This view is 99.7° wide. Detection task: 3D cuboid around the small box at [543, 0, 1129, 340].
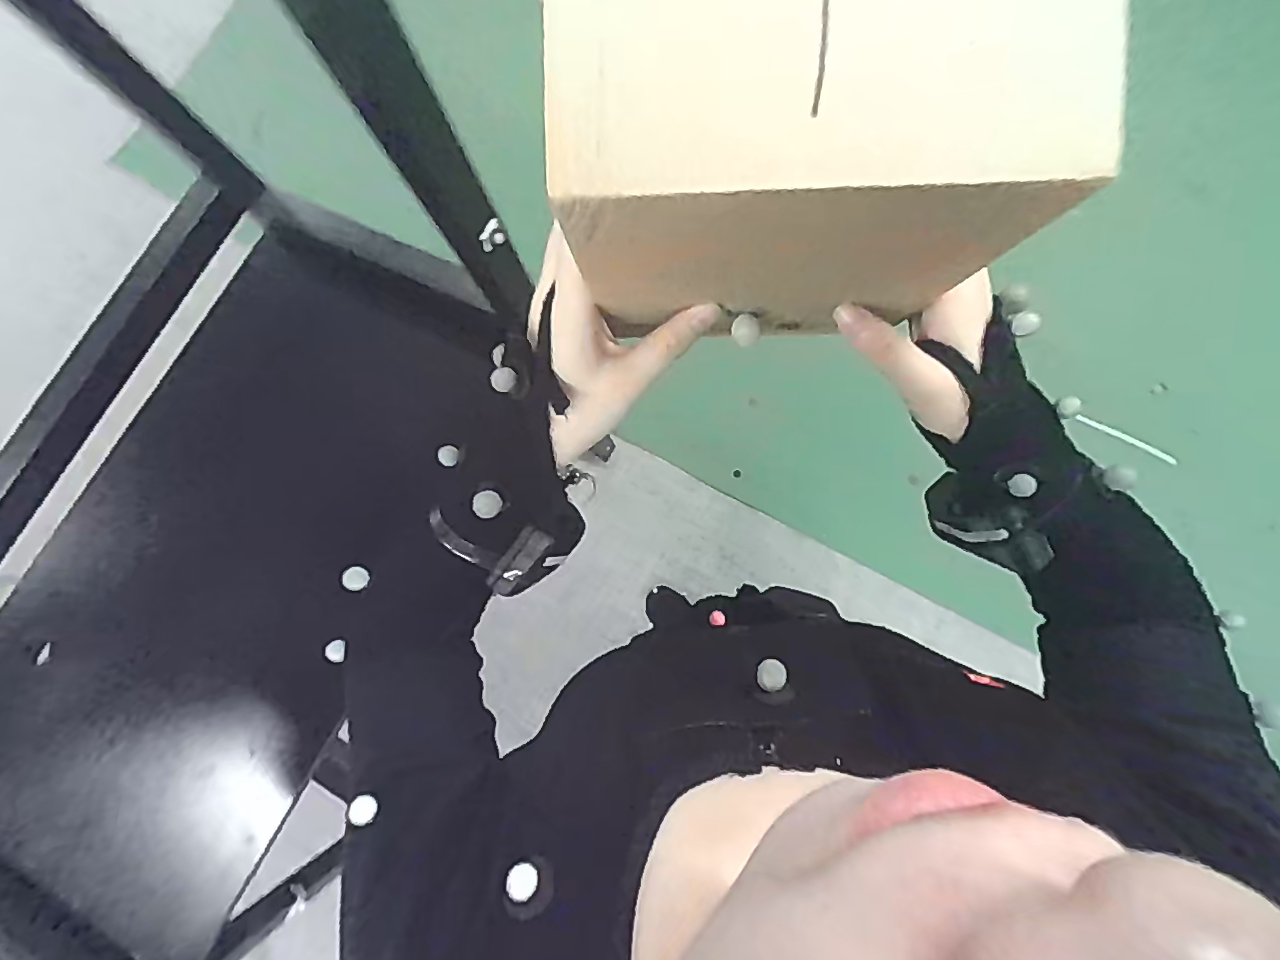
[{"bbox_3d":[0.060,-0.171,0.236,0.168,0.176,0.179,1,91,5],"label":"small box"}]
